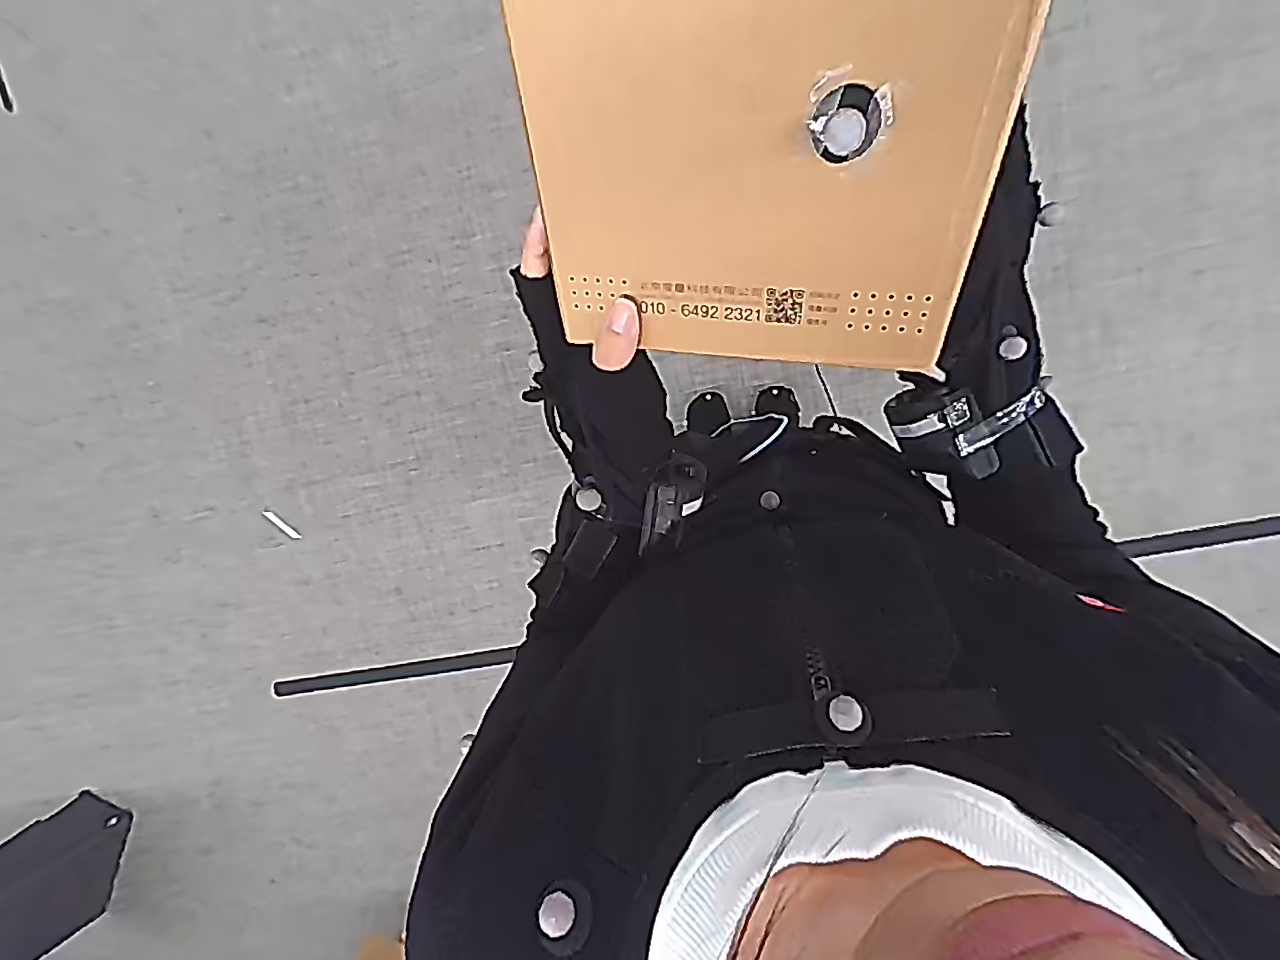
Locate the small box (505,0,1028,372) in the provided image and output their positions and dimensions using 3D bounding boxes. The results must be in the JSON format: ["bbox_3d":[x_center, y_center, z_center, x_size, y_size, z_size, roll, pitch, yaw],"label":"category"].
[{"bbox_3d":[0.064,-0.168,0.253,0.168,0.179,0.176,10,135,18],"label":"small box"}]
